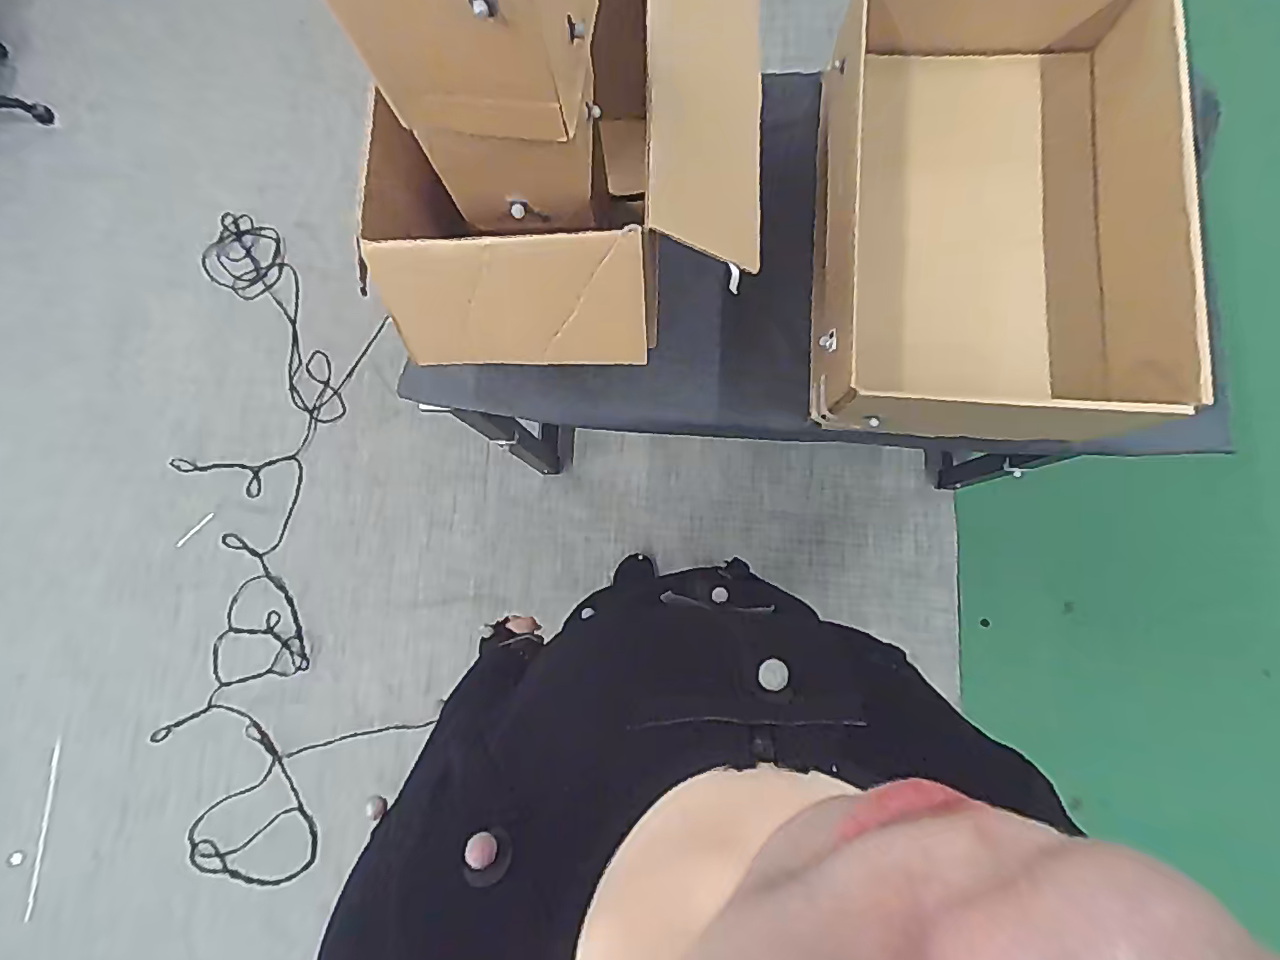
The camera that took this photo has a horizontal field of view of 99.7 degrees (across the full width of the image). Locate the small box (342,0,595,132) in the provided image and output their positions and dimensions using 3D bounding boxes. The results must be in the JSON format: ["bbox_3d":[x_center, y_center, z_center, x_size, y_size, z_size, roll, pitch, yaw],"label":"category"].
[{"bbox_3d":[-0.145,-0.435,0.463,0.179,0.176,0.168,8,83,4],"label":"small box"}]
